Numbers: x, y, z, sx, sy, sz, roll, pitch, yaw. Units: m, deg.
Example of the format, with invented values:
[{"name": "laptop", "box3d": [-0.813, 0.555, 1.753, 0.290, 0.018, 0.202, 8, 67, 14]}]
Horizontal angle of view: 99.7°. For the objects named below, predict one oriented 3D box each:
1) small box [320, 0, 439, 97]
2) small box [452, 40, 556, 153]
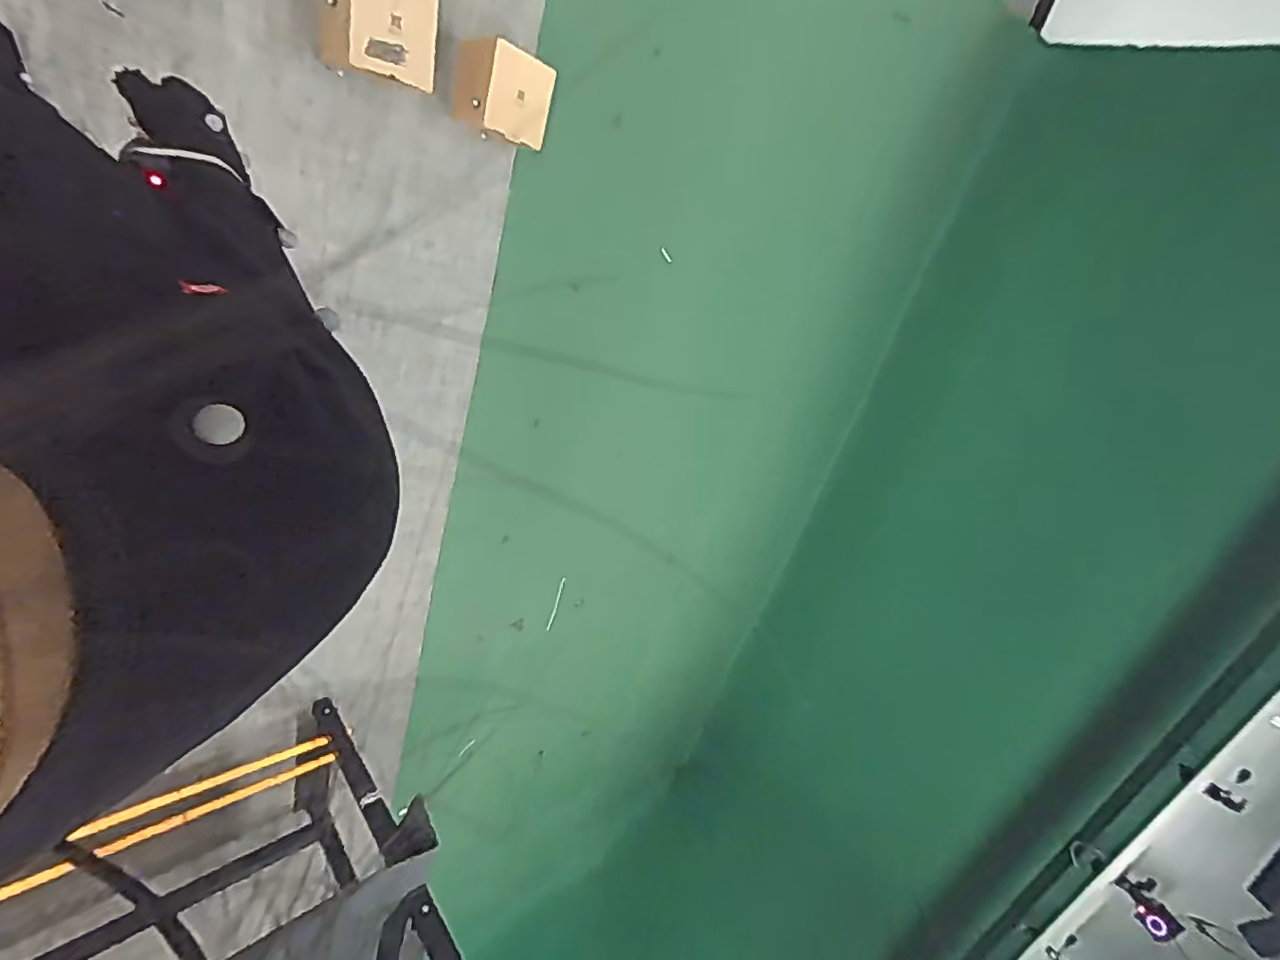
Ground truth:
[{"name": "small box", "box3d": [-0.527, -0.904, 1.090, 0.168, 0.176, 0.179, -12, 125, -45]}, {"name": "small box", "box3d": [-0.334, -0.923, 1.309, 0.168, 0.176, 0.179, -7, 122, -47]}]
